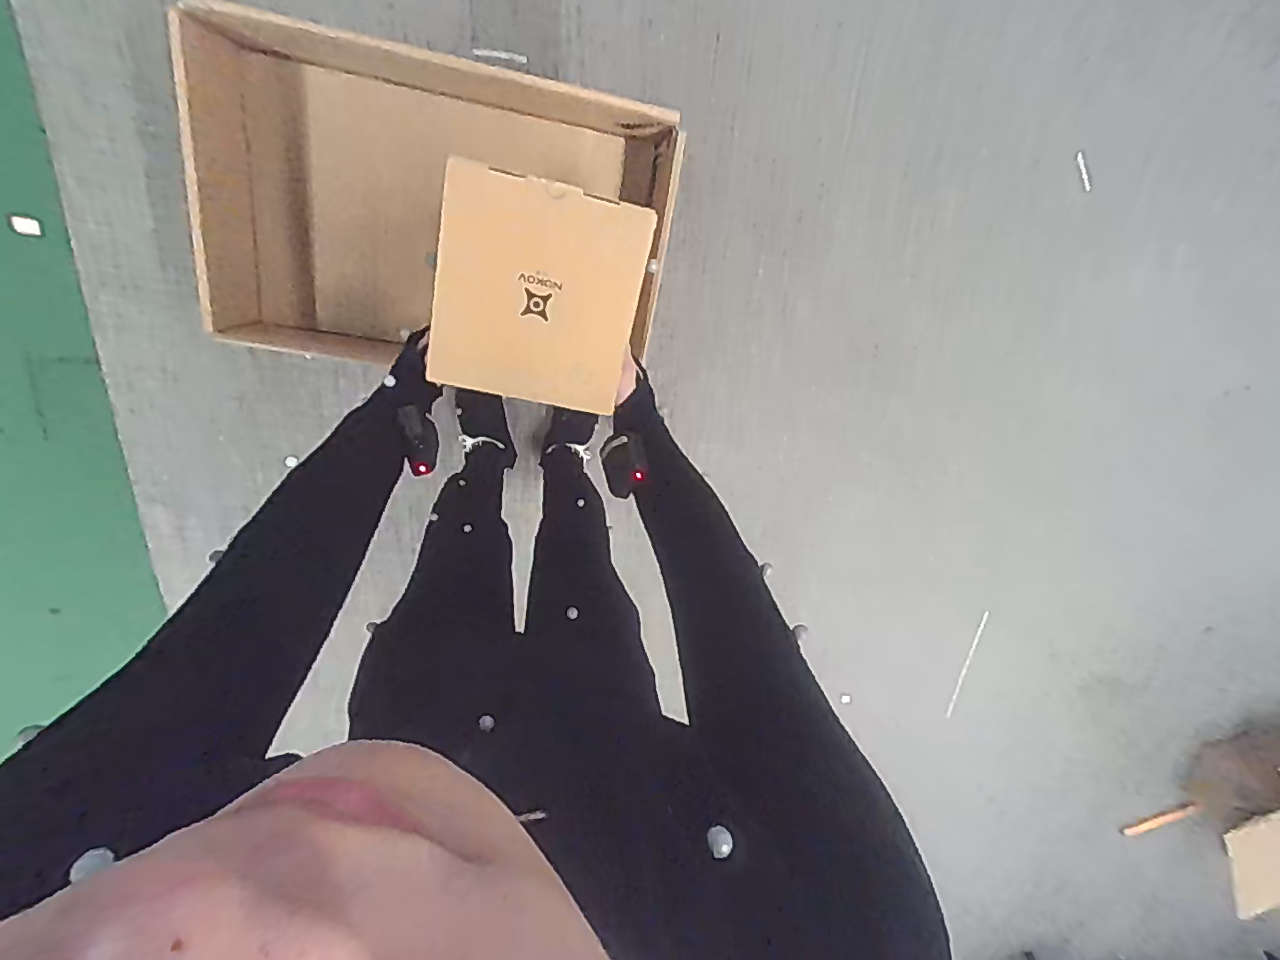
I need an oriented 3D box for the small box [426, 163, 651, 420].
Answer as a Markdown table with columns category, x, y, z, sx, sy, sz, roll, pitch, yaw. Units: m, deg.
| category | x | y | z | sx | sy | sz | roll | pitch | yaw |
| --- | --- | --- | --- | --- | --- | --- | --- | --- | --- |
| small box | -0.095 | -0.176 | 0.525 | 0.168 | 0.176 | 0.179 | 10 | 110 | -11 |
